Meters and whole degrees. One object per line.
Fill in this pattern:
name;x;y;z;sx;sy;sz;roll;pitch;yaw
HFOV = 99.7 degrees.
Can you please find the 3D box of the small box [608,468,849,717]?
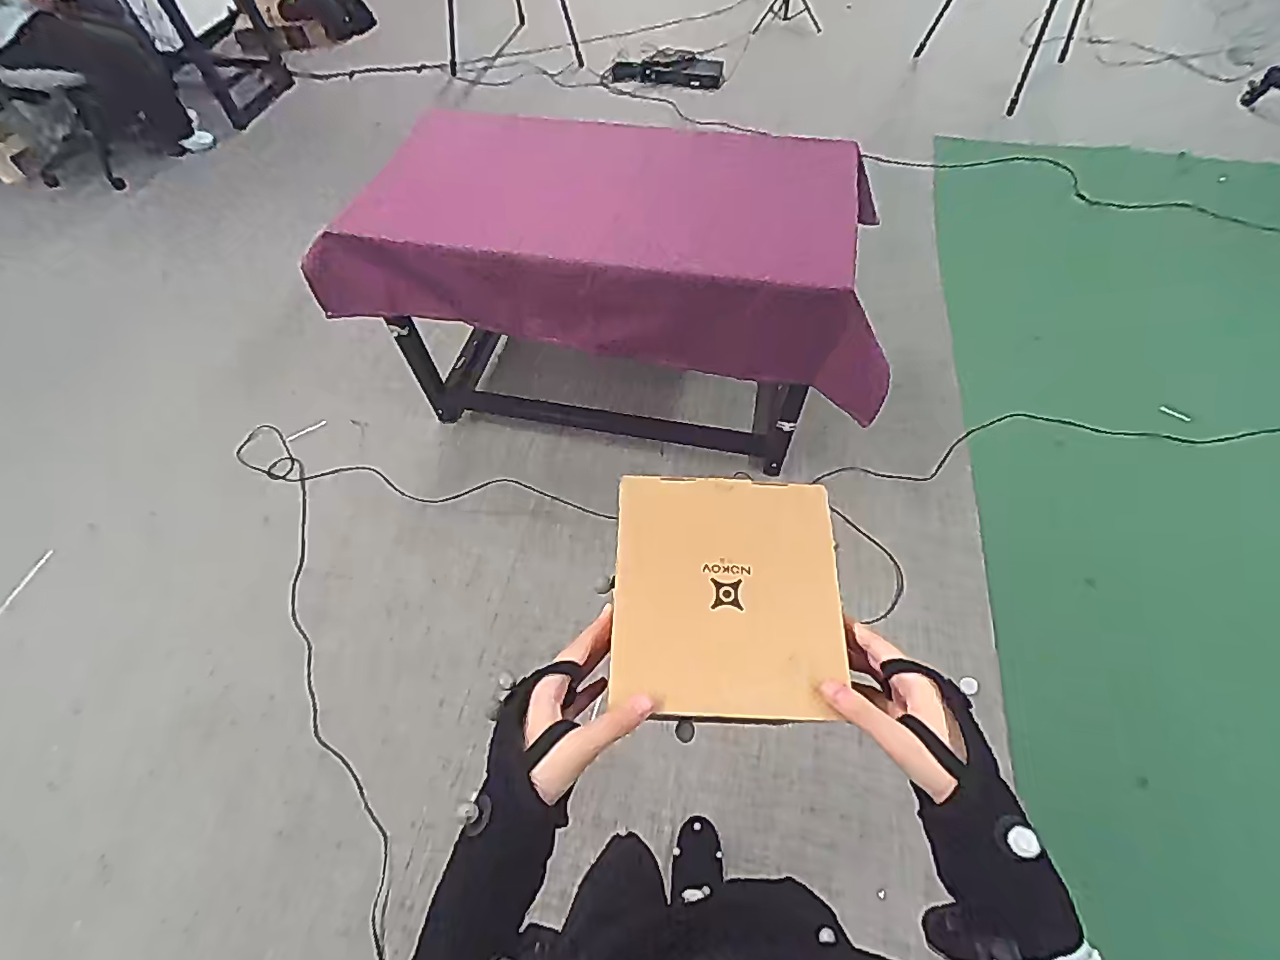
small box;0.061;0.107;0.470;0.168;0.176;0.179;3;64;-1
